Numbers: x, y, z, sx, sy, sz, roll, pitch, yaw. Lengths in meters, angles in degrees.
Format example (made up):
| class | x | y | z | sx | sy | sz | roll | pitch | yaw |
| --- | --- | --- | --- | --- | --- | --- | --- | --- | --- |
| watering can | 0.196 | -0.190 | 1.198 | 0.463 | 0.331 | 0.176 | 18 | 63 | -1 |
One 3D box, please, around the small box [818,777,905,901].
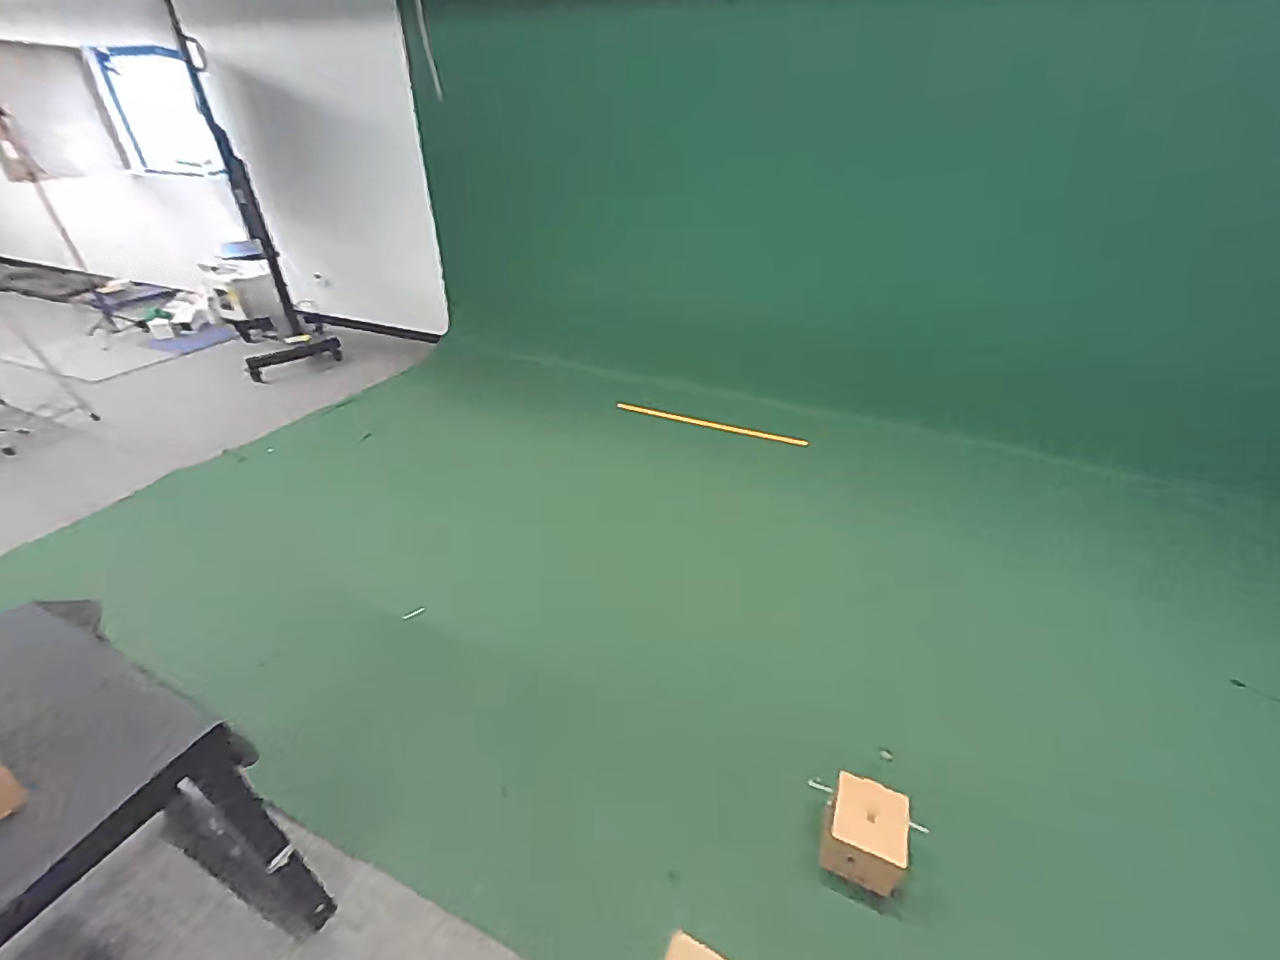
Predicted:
| class | x | y | z | sx | sy | sz | roll | pitch | yaw |
| --- | --- | --- | --- | --- | --- | --- | --- | --- | --- |
| small box | 0.551 | 0.897 | 1.350 | 0.168 | 0.176 | 0.179 | 14 | 34 | 19 |
